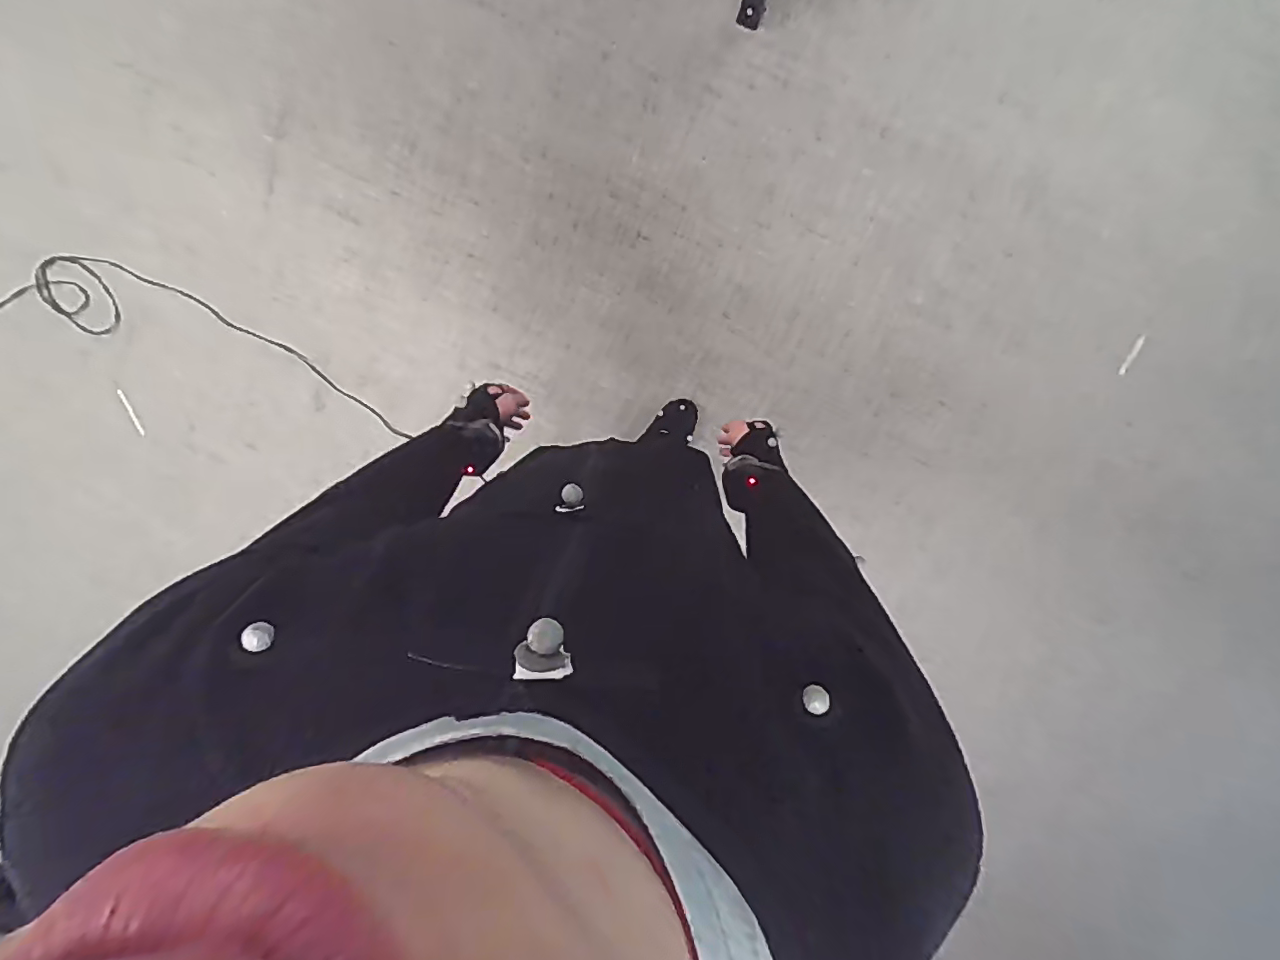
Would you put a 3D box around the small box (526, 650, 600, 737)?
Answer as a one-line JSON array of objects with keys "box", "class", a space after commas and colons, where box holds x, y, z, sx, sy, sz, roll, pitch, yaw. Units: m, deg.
[{"box": [-0.222, 0.623, 1.602, 0.168, 0.176, 0.179, -11, 101, 5], "class": "small box"}]
